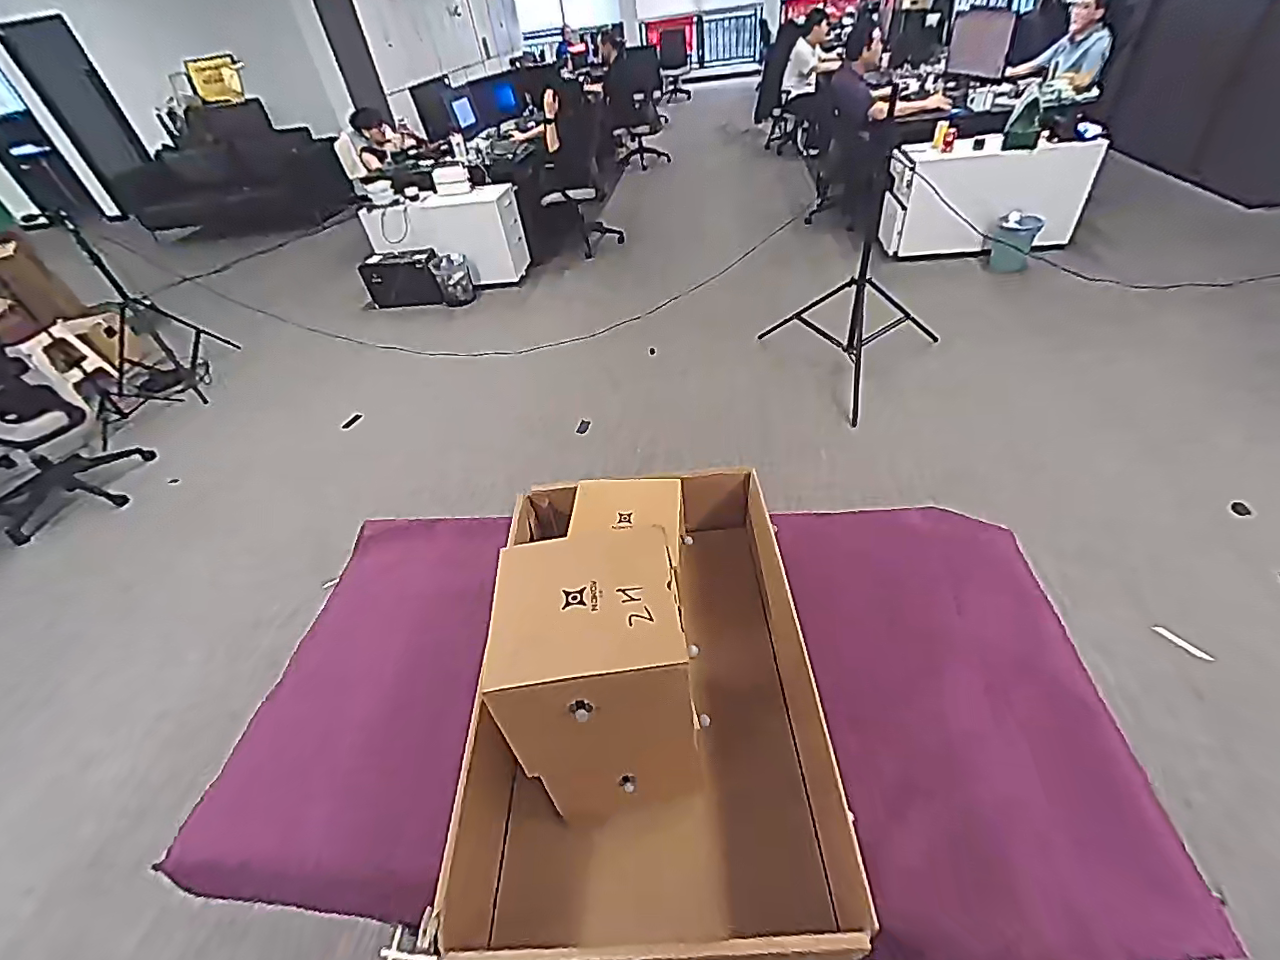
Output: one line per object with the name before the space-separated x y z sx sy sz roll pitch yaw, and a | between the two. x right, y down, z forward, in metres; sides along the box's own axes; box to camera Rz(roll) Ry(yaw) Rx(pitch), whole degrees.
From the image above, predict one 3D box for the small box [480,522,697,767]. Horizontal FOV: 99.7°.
small box | -0.043 0.168 0.550 0.179 0.176 0.168 -8 40 0
